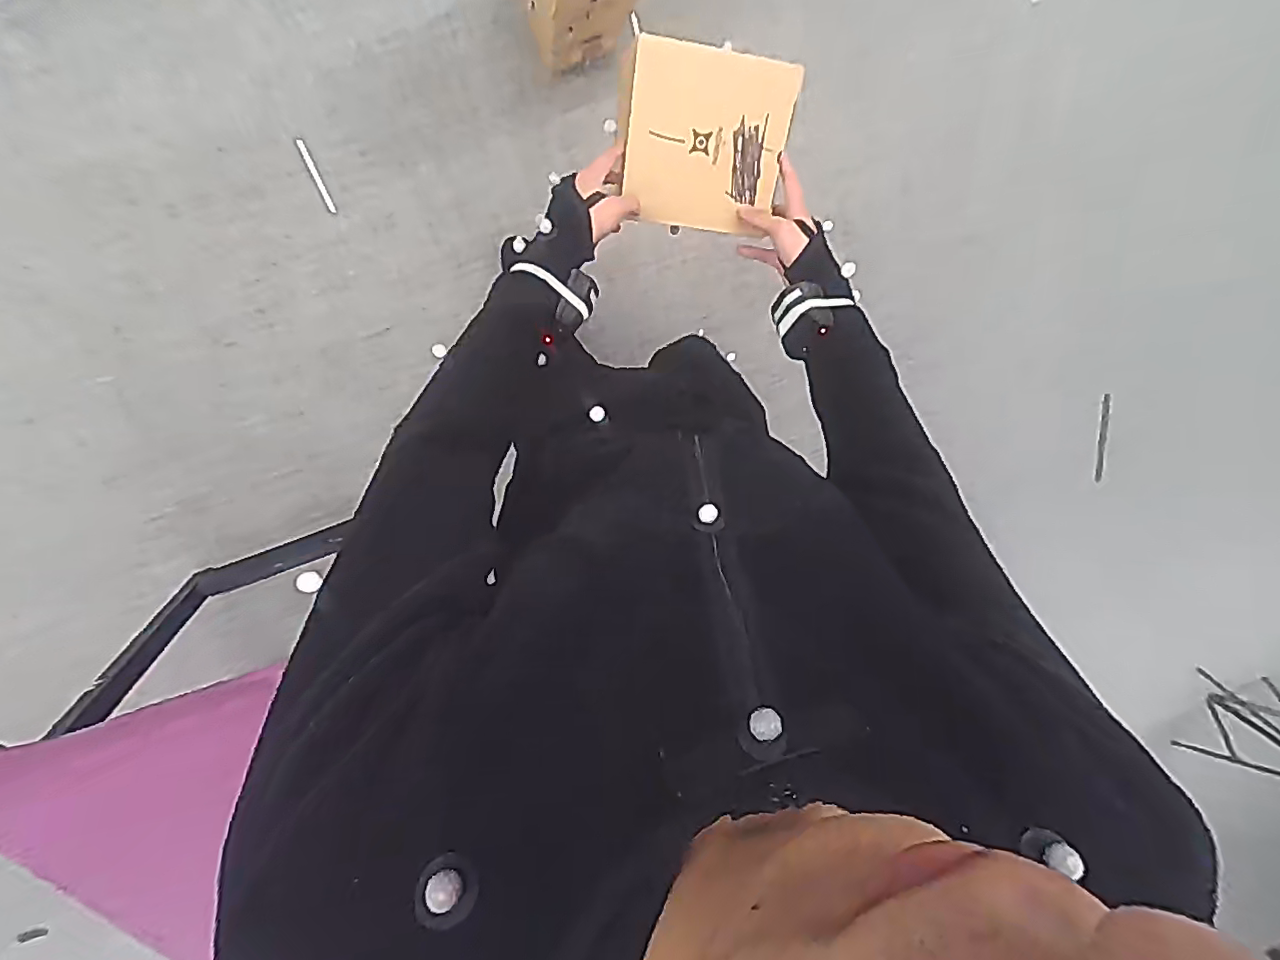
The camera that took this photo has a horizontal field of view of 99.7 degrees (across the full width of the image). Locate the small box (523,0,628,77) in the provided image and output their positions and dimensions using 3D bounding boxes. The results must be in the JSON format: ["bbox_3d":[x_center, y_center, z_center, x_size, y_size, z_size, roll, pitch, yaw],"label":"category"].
[{"bbox_3d":[-0.144,-0.992,1.137,0.168,0.176,0.179,-23,118,-2],"label":"small box"}]

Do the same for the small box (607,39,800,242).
[{"bbox_3d":[0.060,-0.395,0.646,0.179,0.176,0.168,4,120,-10],"label":"small box"}]

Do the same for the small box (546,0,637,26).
[{"bbox_3d":[-0.082,-0.860,0.843,0.168,0.176,0.179,-20,118,-4],"label":"small box"}]
